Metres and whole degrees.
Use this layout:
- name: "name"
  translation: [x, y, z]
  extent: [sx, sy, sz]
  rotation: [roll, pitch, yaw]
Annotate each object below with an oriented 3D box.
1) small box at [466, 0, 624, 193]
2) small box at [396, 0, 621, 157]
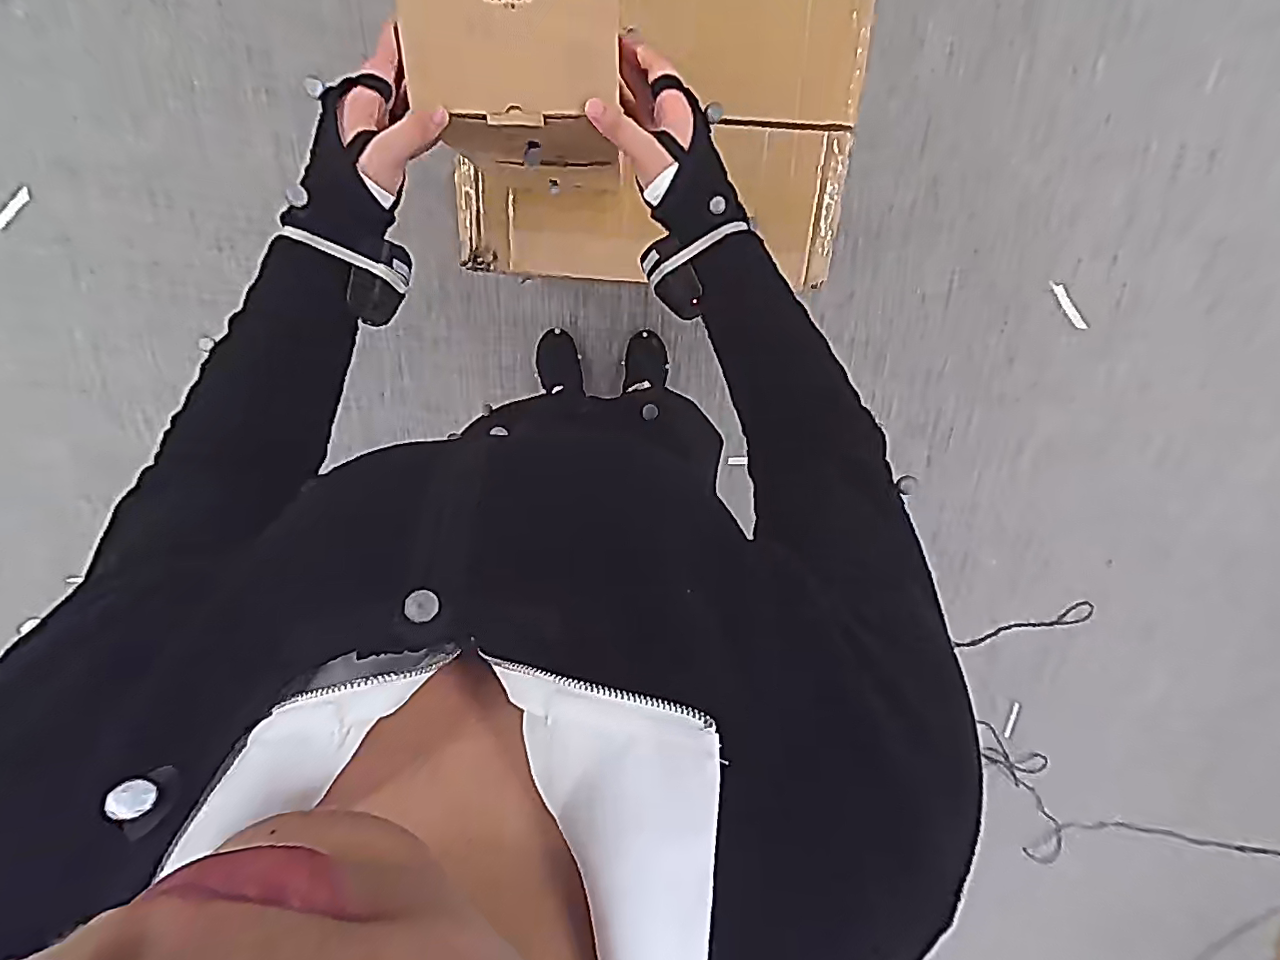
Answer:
- name: "small box"
  translation: [-0.103, -0.449, 0.628]
  extent: [0.168, 0.176, 0.179]
  rotation: [1, 110, -2]
- name: "small box"
  translation: [-0.101, -0.395, 0.473]
  extent: [0.168, 0.176, 0.179]
  rotation: [0, 111, -2]
